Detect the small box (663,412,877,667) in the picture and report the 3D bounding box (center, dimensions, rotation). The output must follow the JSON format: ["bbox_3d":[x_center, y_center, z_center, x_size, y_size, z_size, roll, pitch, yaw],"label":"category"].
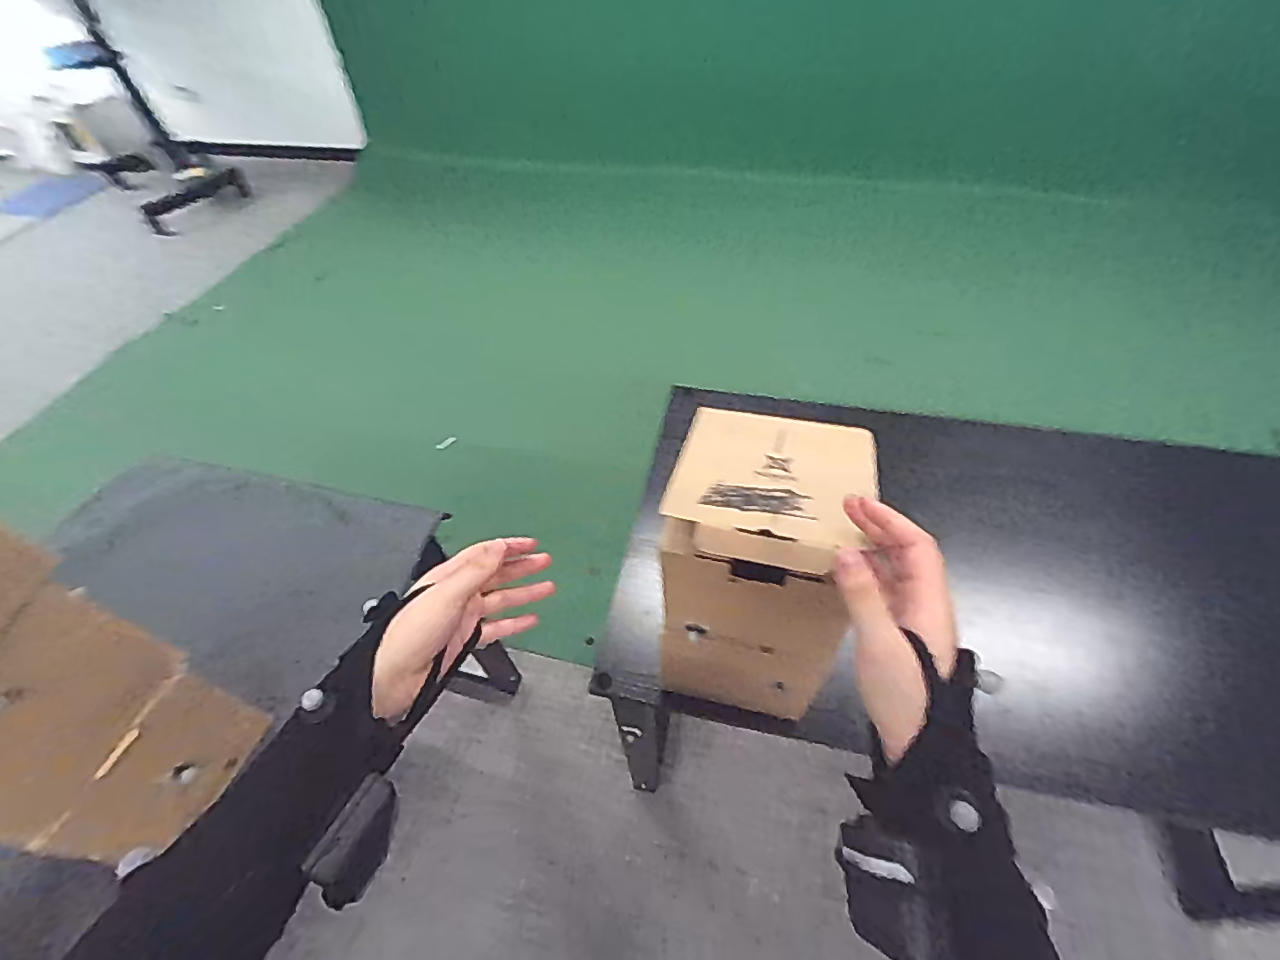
[{"bbox_3d":[0.127,0.060,0.535,0.168,0.176,0.179,10,51,13],"label":"small box"}]

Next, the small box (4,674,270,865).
[{"bbox_3d":[-0.568,0.301,0.596,0.179,0.176,0.168,11,52,13],"label":"small box"}]

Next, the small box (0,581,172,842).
[{"bbox_3d":[-0.577,0.190,0.477,0.168,0.176,0.179,9,53,13],"label":"small box"}]
